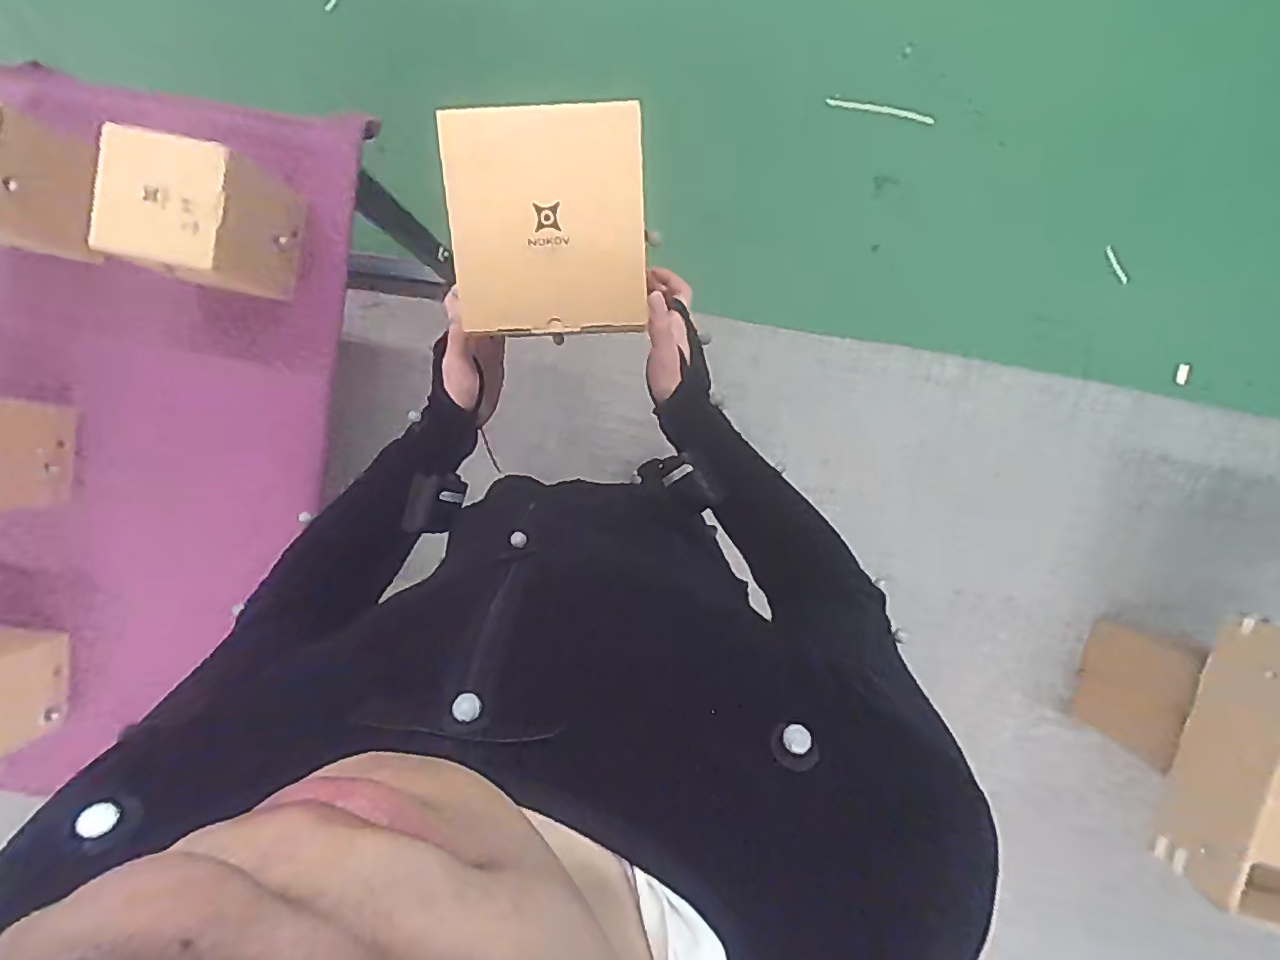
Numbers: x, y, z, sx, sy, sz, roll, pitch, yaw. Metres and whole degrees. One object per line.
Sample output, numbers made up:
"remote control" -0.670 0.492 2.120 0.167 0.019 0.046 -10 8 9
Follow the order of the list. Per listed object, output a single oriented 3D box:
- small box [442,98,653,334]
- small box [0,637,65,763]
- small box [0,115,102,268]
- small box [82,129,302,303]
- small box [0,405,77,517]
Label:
"small box" -0.074 -0.234 0.521 0.168 0.176 0.179 -2 106 0
"small box" -1.072 0.355 0.849 0.179 0.176 0.168 5 93 2
"small box" -0.959 -0.434 0.805 0.179 0.176 0.168 12 94 1
"small box" -0.647 -0.374 0.798 0.179 0.176 0.168 11 95 1
"small box" -1.042 -0.033 0.830 0.179 0.176 0.168 8 94 0
